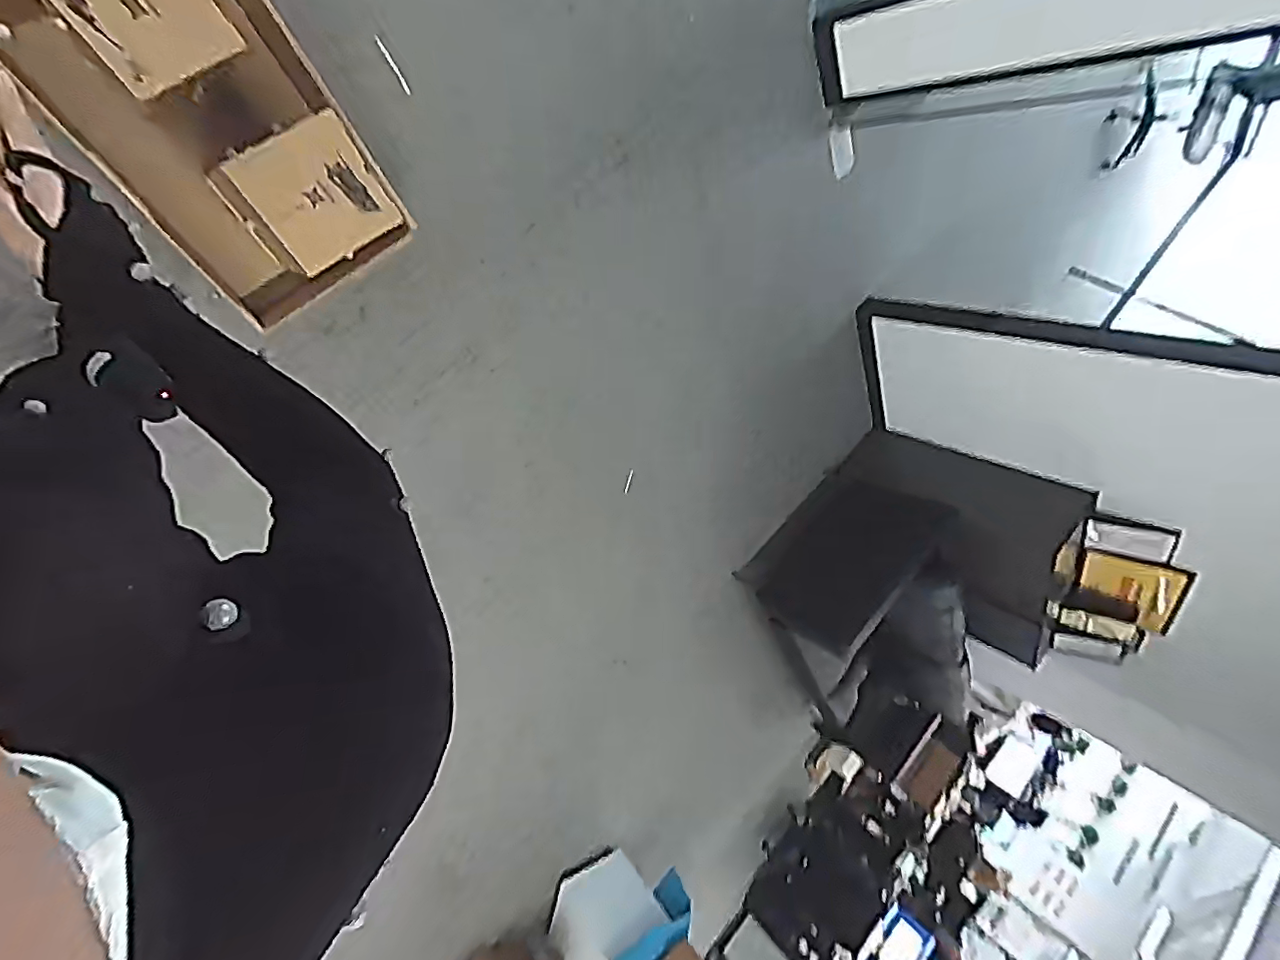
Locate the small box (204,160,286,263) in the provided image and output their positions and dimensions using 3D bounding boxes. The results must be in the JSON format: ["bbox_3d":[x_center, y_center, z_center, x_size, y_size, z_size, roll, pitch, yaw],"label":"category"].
[{"bbox_3d":[-0.632,-0.510,0.968,0.179,0.176,0.168,-42,132,-17],"label":"small box"}]

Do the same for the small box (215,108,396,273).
[{"bbox_3d":[-0.529,-0.453,0.853,0.179,0.176,0.168,-41,132,-16],"label":"small box"}]

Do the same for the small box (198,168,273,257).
[{"bbox_3d":[-0.735,-0.568,1.083,0.179,0.176,0.168,-42,132,-17],"label":"small box"}]

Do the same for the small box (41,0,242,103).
[{"bbox_3d":[-0.733,-0.682,0.785,0.179,0.176,0.168,-43,133,-16],"label":"small box"}]
